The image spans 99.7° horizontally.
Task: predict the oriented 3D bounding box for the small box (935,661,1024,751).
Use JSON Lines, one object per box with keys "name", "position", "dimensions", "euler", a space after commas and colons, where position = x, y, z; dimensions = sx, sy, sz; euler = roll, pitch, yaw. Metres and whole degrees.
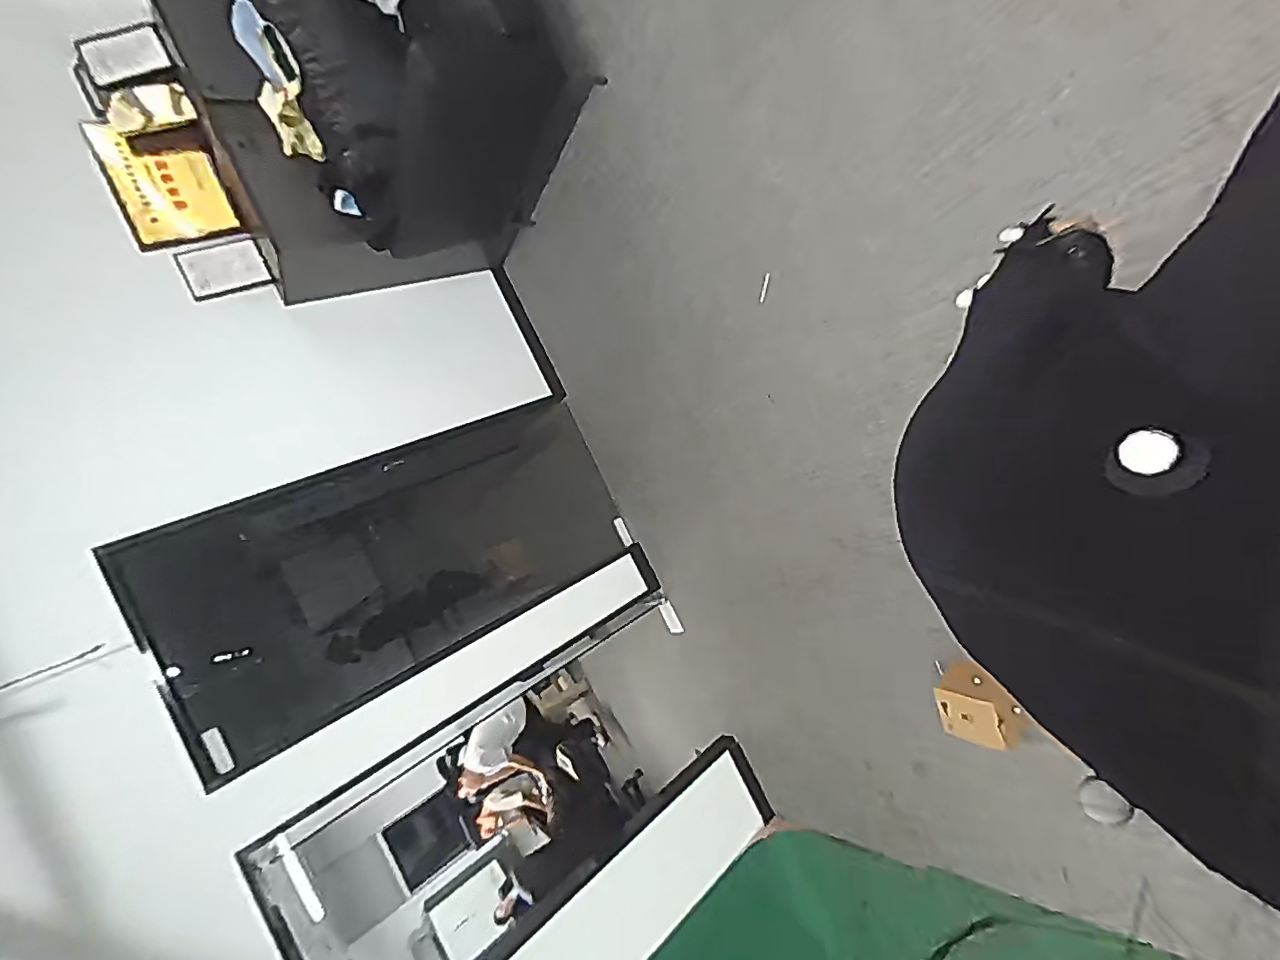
{"name": "small box", "position": [1.030, 0.671, 1.632], "dimensions": [0.179, 0.176, 0.168], "euler": [-6, 107, 55]}
